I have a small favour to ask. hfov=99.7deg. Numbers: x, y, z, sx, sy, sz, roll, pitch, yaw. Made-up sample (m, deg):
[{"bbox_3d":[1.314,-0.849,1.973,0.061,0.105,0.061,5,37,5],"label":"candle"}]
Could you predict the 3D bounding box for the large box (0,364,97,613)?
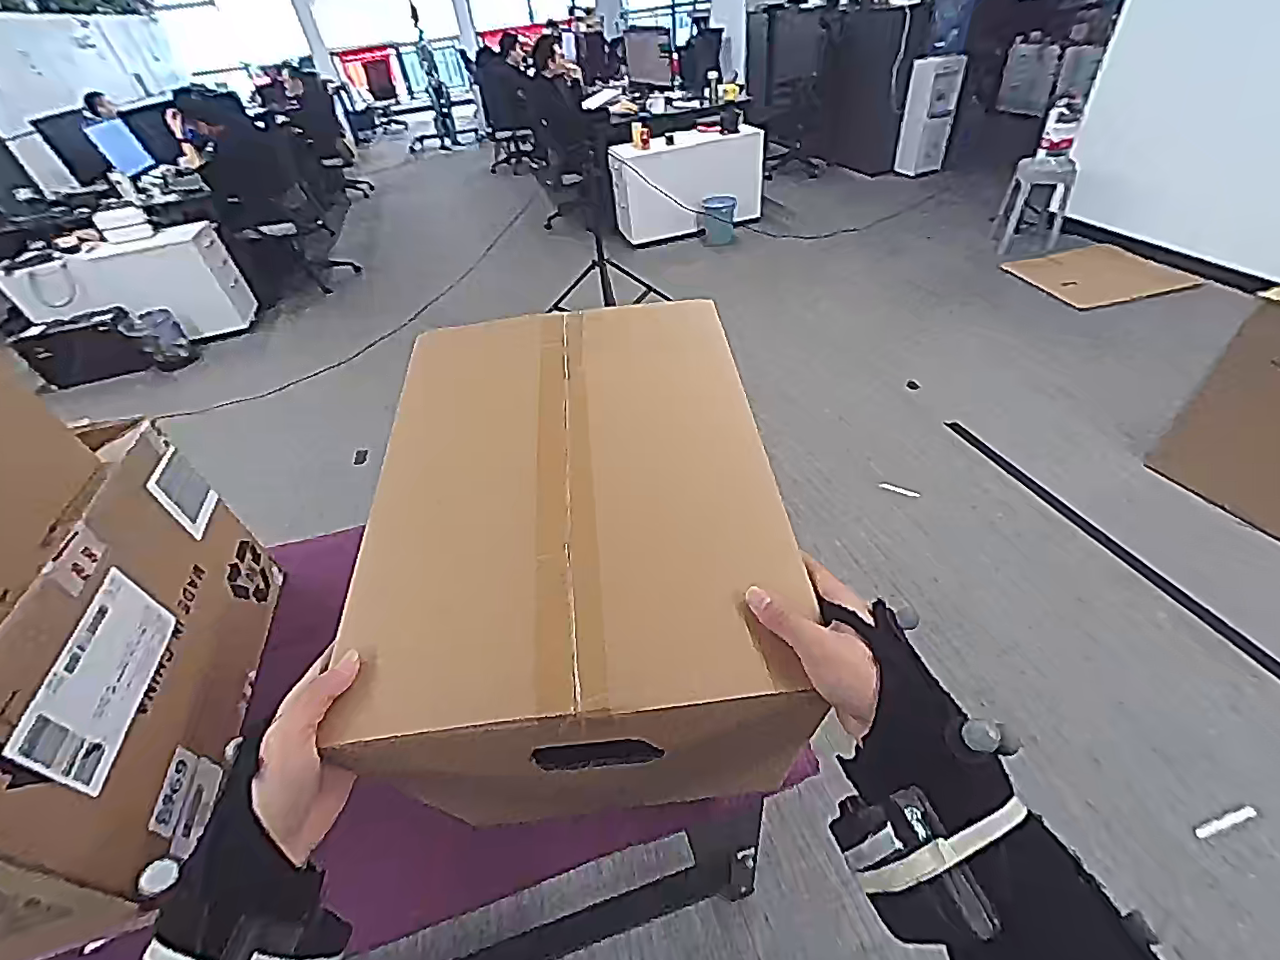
[{"bbox_3d":[-0.749,0.032,0.394,0.320,0.320,0.408,-17,43,-8],"label":"large box"}]
